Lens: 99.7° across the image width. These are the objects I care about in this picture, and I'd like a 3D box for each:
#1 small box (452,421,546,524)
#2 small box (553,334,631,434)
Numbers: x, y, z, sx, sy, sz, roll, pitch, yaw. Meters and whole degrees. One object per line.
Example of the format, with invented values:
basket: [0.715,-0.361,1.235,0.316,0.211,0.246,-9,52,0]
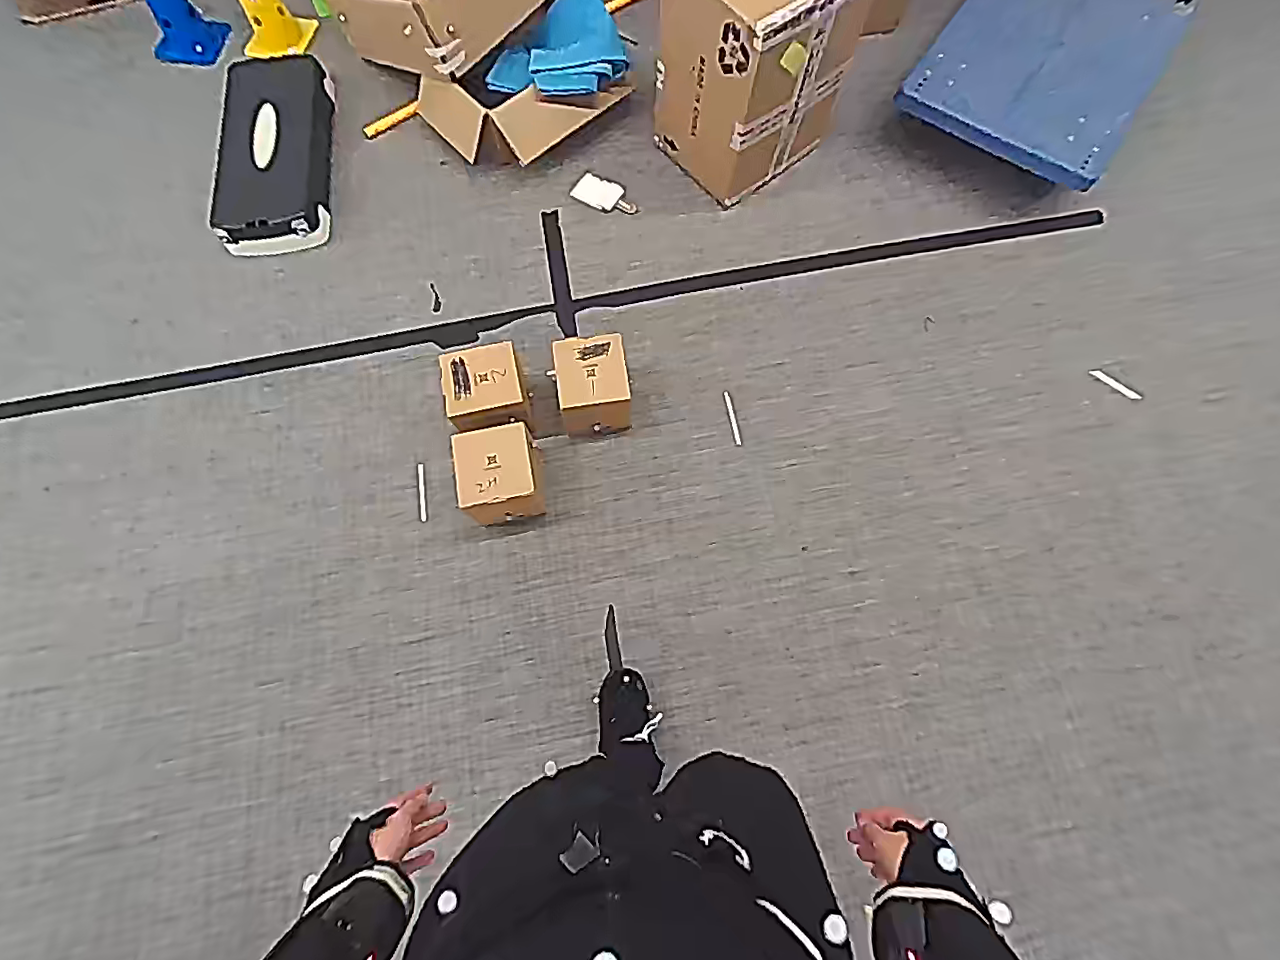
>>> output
small box: [-0.322,-0.012,1.254,0.168,0.176,0.179,-12,73,-3]
small box: [-0.115,-0.230,1.325,0.168,0.176,0.179,-8,73,-3]
